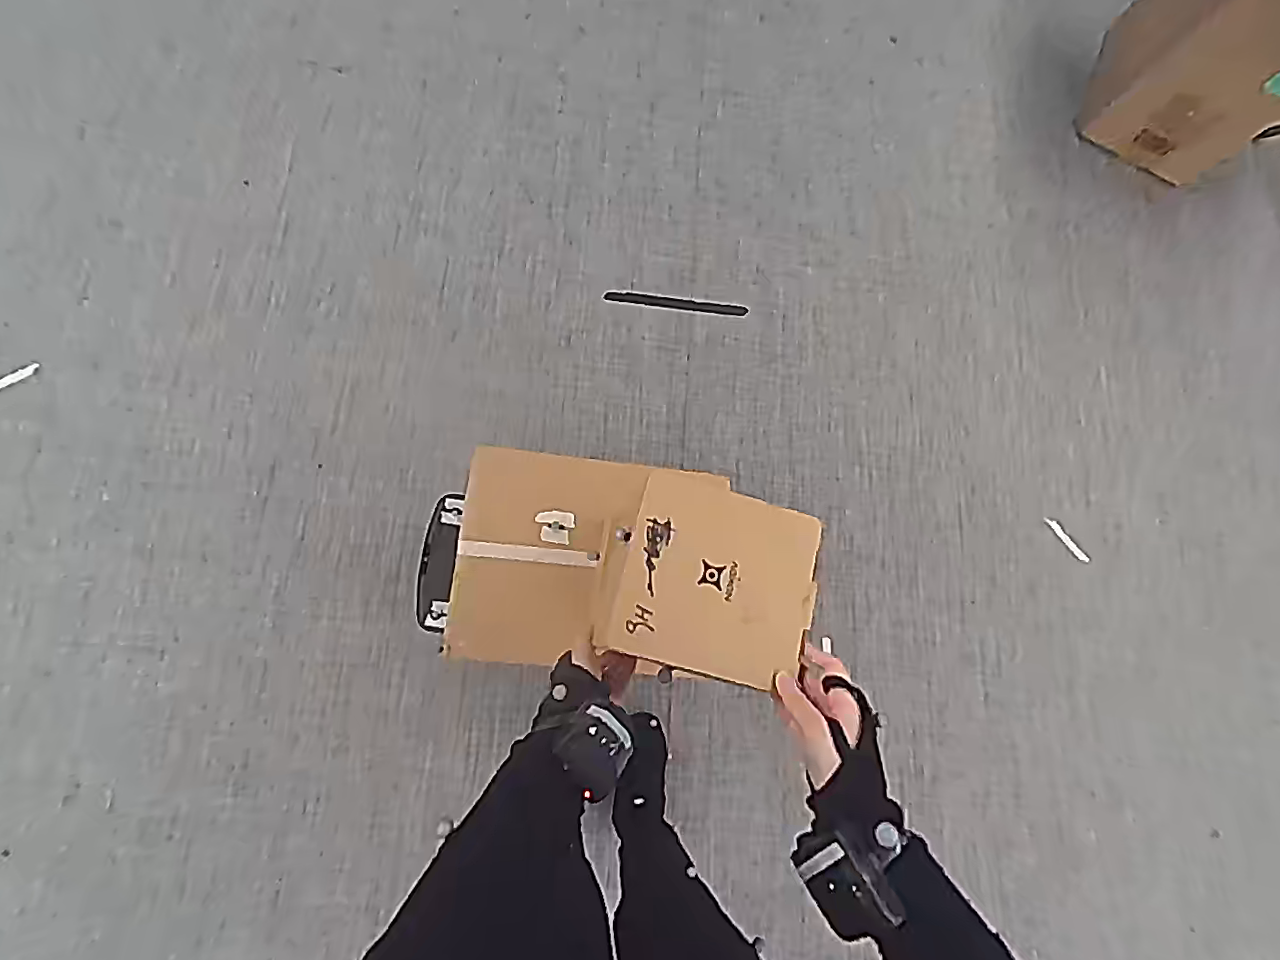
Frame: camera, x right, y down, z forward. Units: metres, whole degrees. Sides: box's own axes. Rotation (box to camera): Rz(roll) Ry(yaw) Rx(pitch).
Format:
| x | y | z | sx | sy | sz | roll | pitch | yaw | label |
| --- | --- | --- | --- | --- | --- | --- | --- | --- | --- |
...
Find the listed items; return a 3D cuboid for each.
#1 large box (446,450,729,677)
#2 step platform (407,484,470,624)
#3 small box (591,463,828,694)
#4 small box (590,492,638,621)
| x | y | z | sx | sy | sz | roll | pitch | yaw | label |
| --- | --- | --- | --- | --- | --- | --- | --- | --- | --- |
| -0.080 | 0.150 | 0.949 | 0.408 | 0.320 | 0.320 | 6 | 77 | -5 | large box |
| -0.129 | 0.213 | 1.175 | 0.684 | 0.204 | 0.286 | 12 | 77 | -4 | step platform |
| 0.060 | 0.104 | 0.550 | 0.179 | 0.176 | 0.168 | 17 | 71 | -6 | small box |
| 0.034 | 0.124 | 0.717 | 0.179 | 0.176 | 0.168 | 10 | 76 | -5 | small box |
